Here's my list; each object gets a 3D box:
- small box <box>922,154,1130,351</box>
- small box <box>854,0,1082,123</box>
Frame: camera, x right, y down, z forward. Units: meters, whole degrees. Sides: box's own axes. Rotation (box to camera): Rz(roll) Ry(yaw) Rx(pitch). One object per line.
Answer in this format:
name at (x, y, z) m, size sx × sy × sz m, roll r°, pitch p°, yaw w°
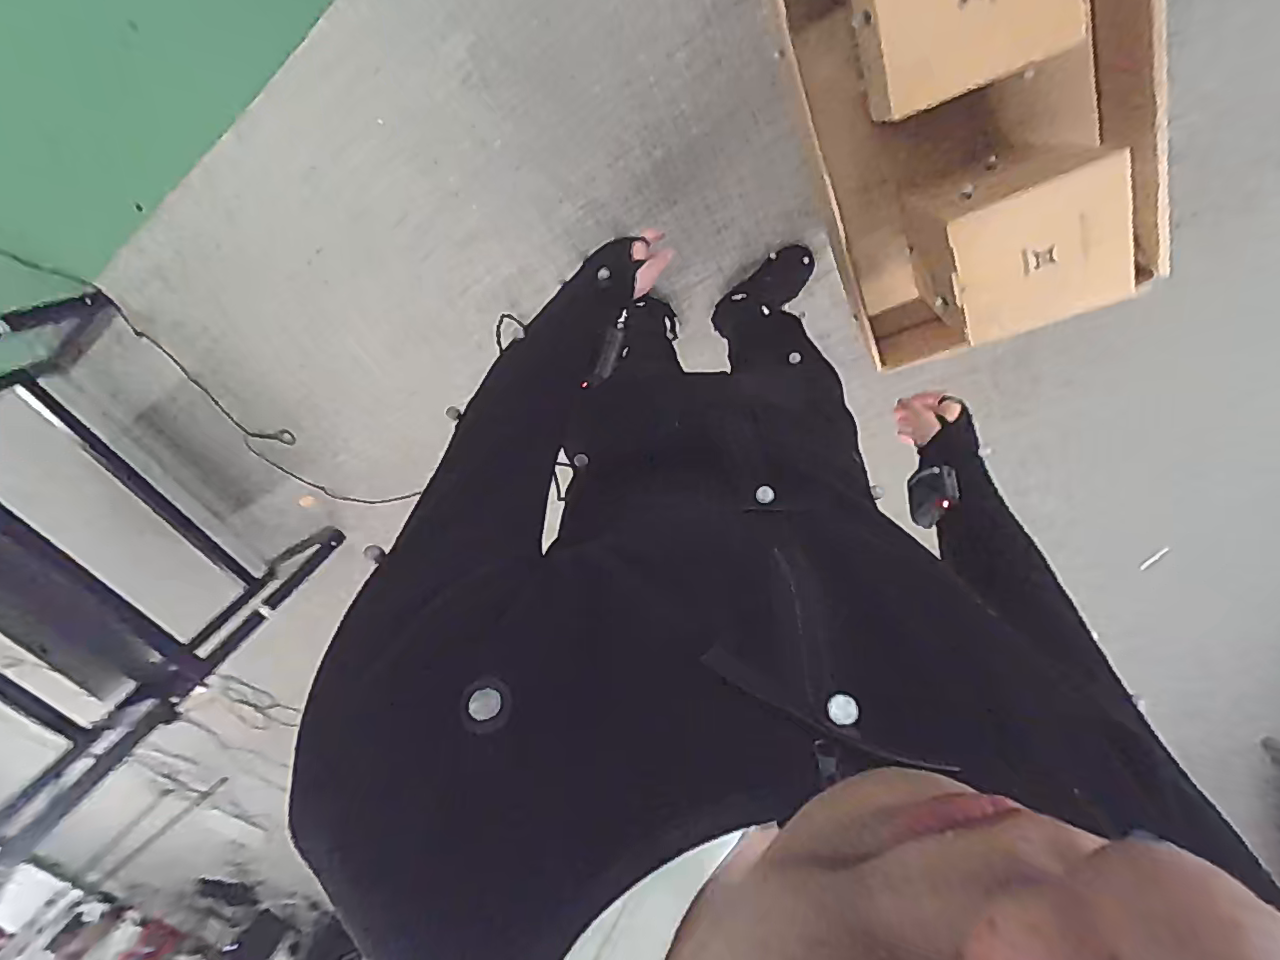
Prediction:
small box at (0.481, -0.294, 0.696) m, size 0.179 × 0.176 × 0.168 m, roll -16°, pitch 118°, yaw 22°
small box at (0.341, -0.513, 0.590) m, size 0.179 × 0.176 × 0.168 m, roll -13°, pitch 118°, yaw 21°
